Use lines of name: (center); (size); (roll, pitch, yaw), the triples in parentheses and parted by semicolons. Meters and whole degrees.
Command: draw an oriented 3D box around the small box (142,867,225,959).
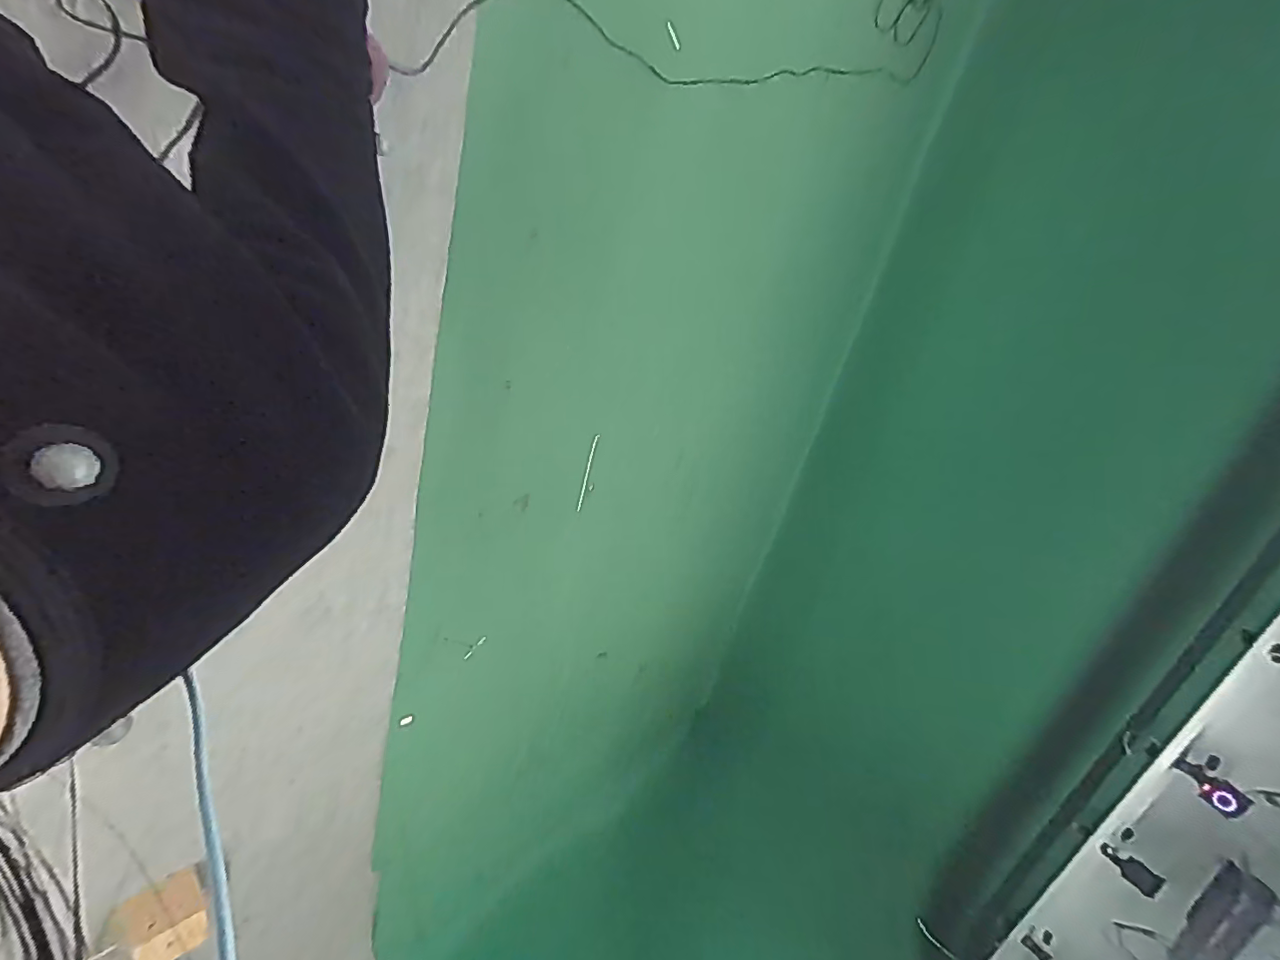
small box: (-1.449, 1.396, 1.715); (0.179, 0.176, 0.168); (-12, 123, -48)
